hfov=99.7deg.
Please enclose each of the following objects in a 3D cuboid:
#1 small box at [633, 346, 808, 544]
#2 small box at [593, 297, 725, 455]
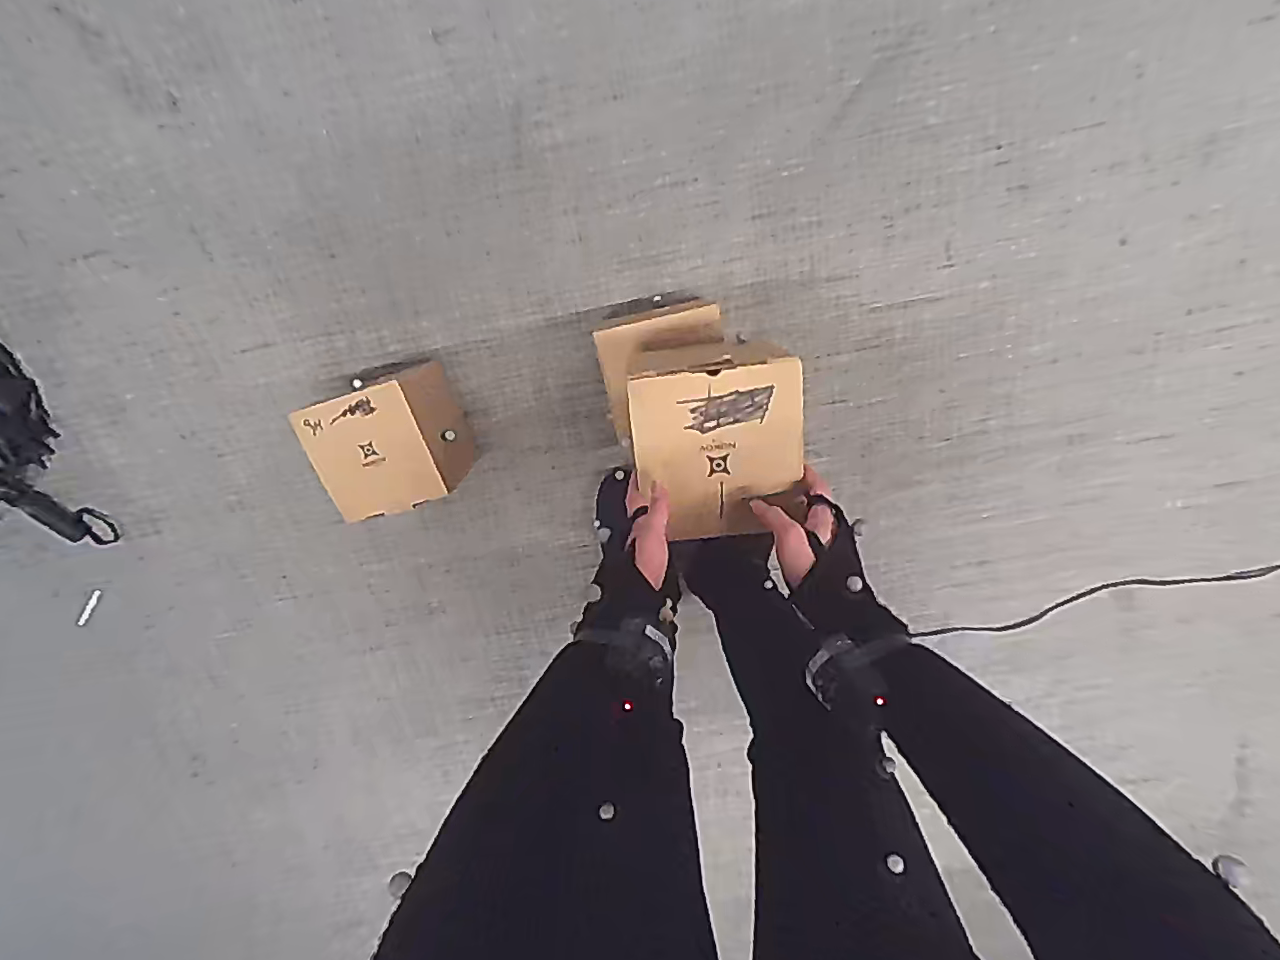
[{"bbox_3d":[0.081,-0.049,0.598,0.168,0.176,0.179,-5,111,4],"label":"small box"},{"bbox_3d":[0.037,-0.157,0.785,0.168,0.176,0.179,-13,110,4],"label":"small box"}]
